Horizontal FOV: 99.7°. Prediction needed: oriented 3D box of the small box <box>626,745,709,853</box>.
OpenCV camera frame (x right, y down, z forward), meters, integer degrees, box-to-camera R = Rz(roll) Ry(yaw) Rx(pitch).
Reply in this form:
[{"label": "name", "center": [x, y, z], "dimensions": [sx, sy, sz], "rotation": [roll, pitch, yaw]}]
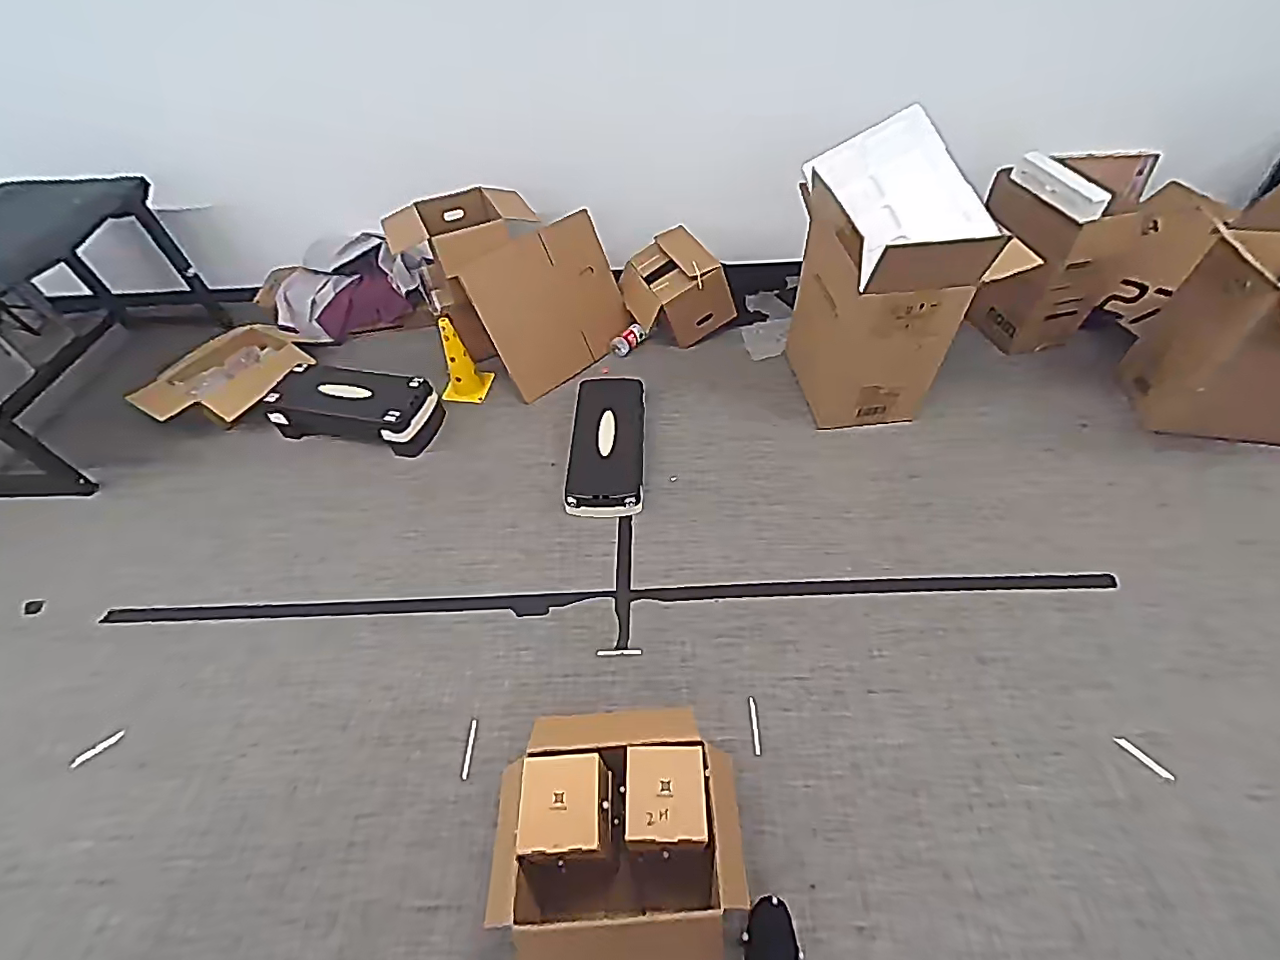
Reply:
[{"label": "small box", "center": [0.059, 0.690, 1.169], "dimensions": [0.168, 0.176, 0.179], "rotation": [-1, 50, 3]}]
